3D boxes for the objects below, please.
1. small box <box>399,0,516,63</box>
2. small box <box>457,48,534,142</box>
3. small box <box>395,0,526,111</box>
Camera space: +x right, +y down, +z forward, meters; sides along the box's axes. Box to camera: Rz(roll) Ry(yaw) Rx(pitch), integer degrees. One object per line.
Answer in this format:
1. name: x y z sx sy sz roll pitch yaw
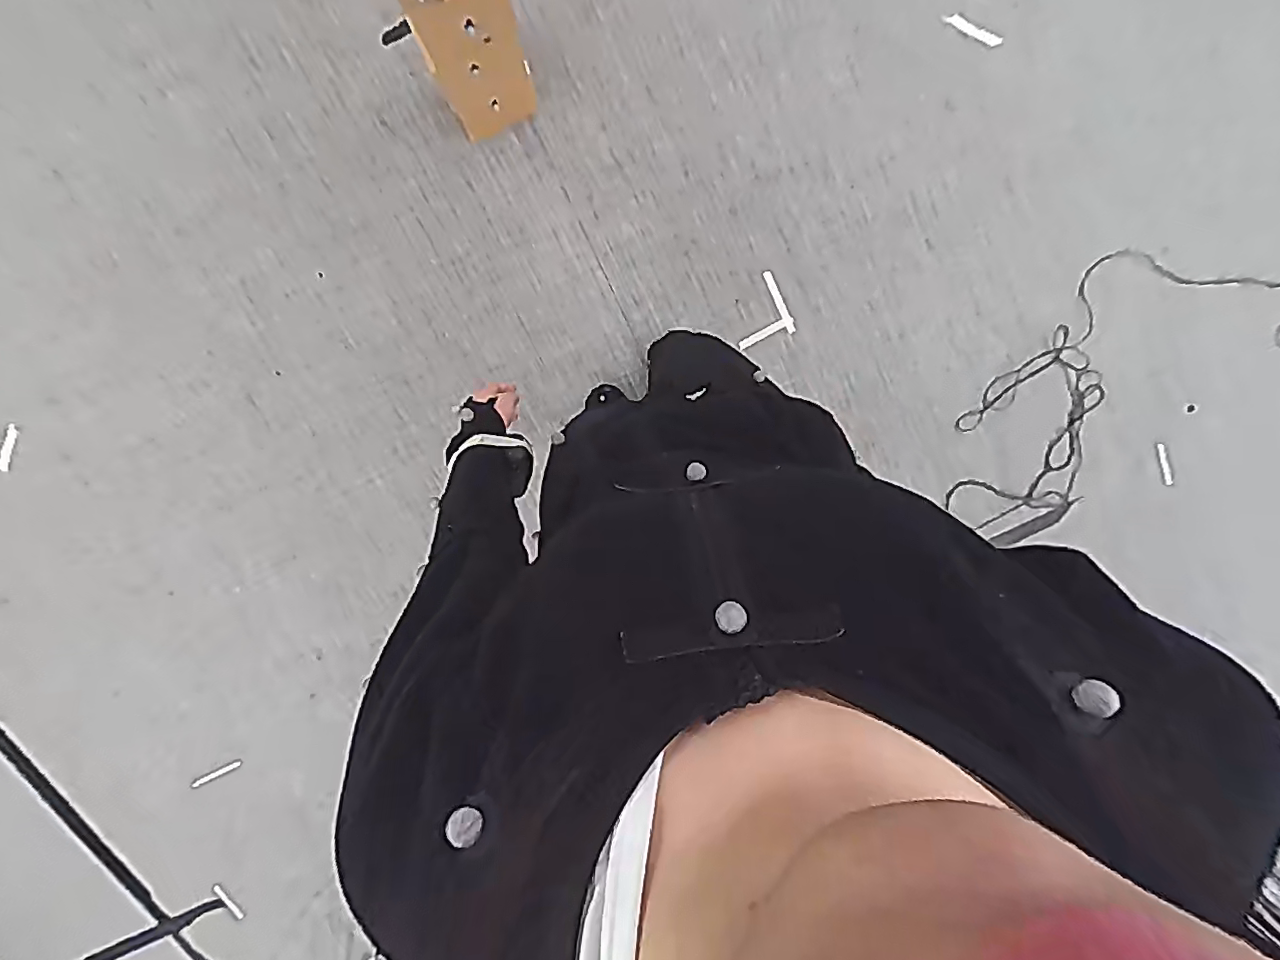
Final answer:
1. small box: -0.318 -0.825 0.876 0.168 0.176 0.179 -24 104 1
2. small box: -0.346 -0.893 1.195 0.179 0.176 0.168 -26 103 1
3. small box: -0.337 -0.853 1.036 0.179 0.176 0.168 -23 104 1
